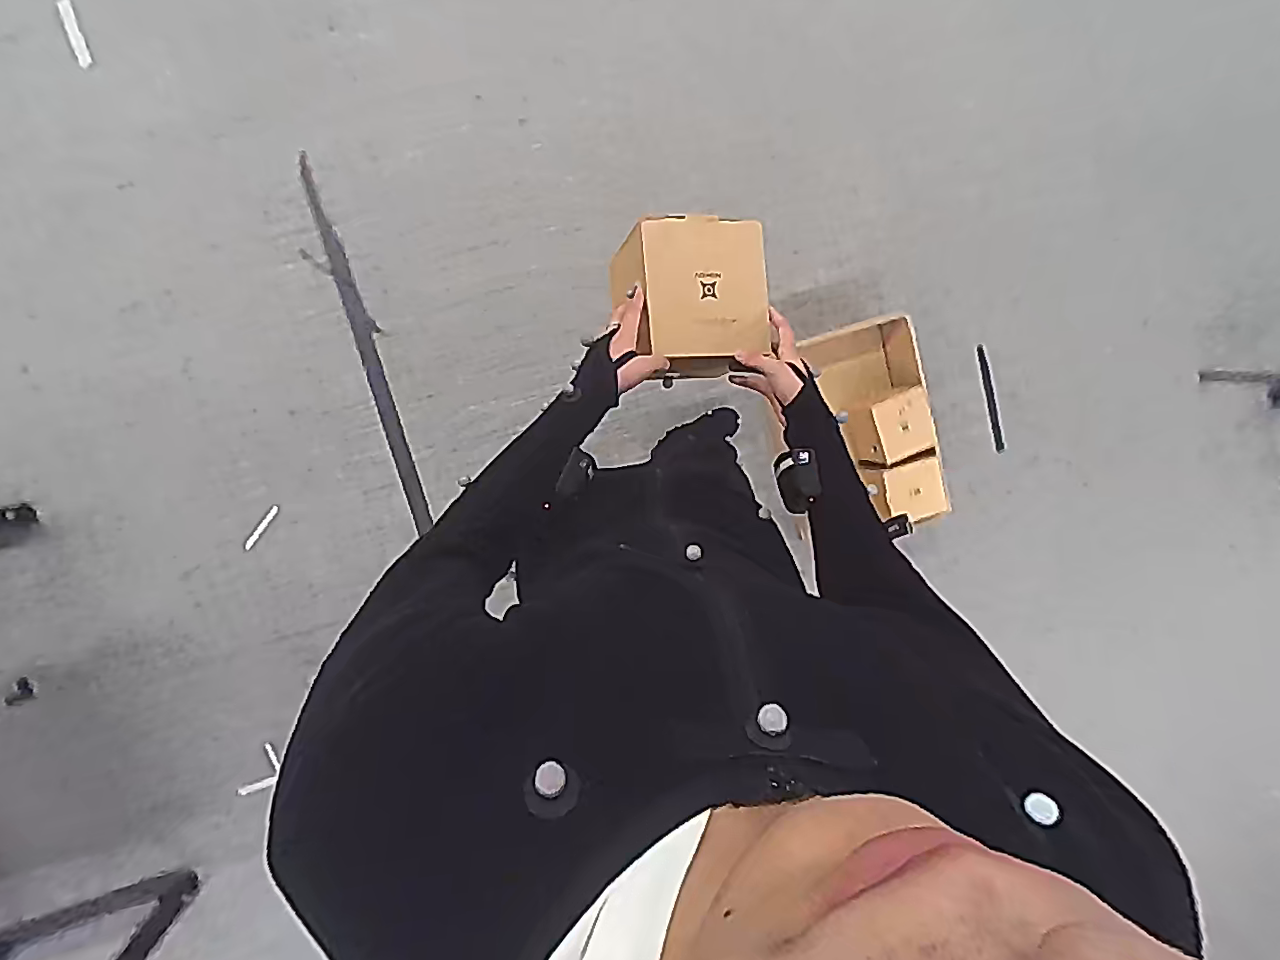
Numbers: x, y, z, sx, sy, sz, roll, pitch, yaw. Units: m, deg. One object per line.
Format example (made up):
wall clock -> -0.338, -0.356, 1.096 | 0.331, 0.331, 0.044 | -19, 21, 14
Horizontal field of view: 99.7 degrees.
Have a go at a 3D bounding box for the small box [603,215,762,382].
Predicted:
small box -> 0.049, -0.240, 0.751 | 0.168, 0.176, 0.179 | -6, 93, -16

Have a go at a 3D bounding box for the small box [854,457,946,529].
small box -> 0.778, 0.033, 1.630 | 0.179, 0.176, 0.168 | -16, 97, -4
